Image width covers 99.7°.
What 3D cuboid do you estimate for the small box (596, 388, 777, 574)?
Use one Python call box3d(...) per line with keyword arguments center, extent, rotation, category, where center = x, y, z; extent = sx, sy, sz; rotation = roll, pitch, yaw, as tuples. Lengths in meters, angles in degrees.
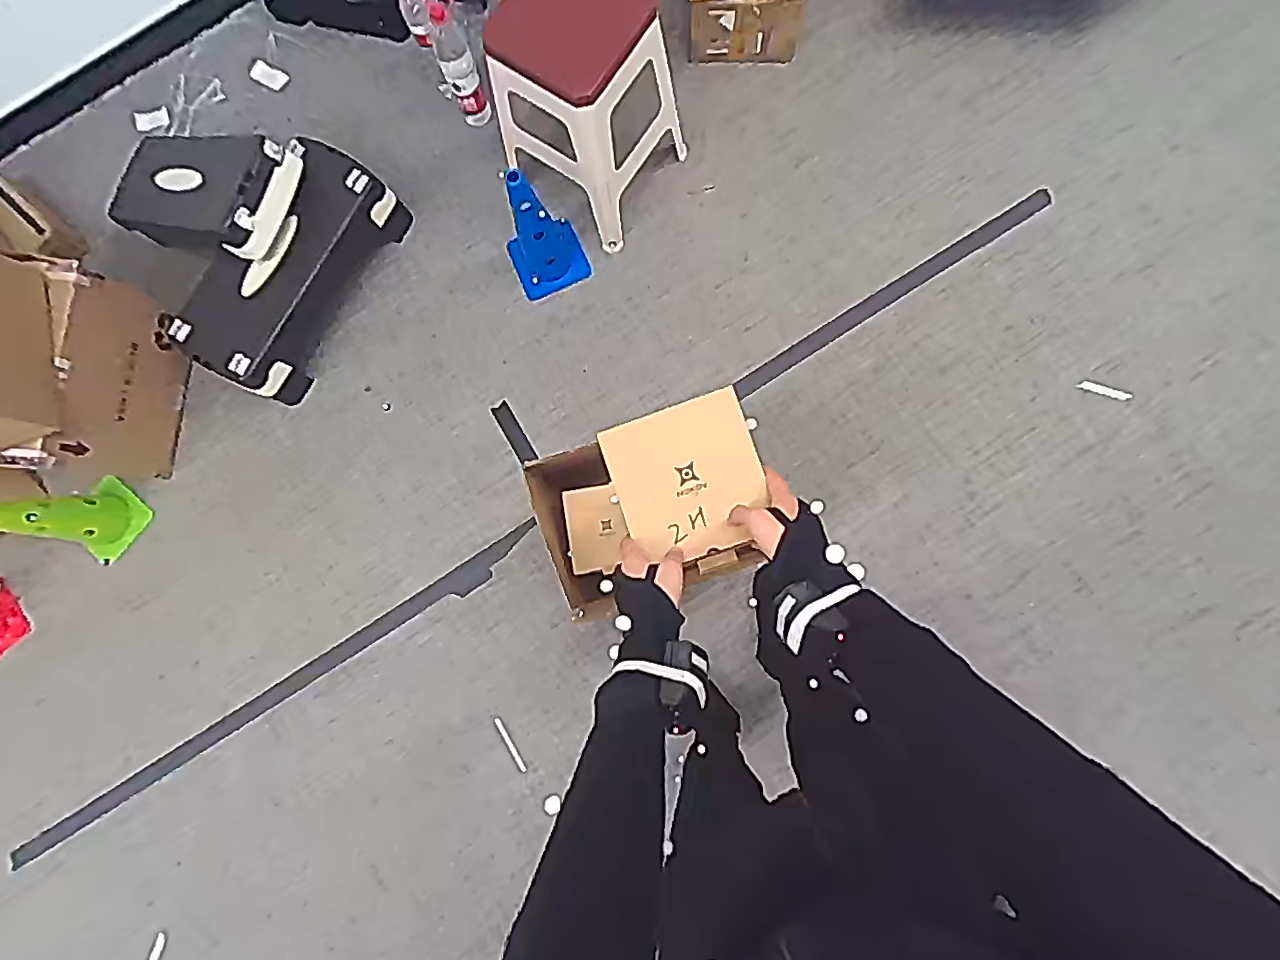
box3d(center=(0.057, 0.006, 0.686), extent=(0.168, 0.176, 0.179), rotation=(-19, 86, 5), category="small box")
